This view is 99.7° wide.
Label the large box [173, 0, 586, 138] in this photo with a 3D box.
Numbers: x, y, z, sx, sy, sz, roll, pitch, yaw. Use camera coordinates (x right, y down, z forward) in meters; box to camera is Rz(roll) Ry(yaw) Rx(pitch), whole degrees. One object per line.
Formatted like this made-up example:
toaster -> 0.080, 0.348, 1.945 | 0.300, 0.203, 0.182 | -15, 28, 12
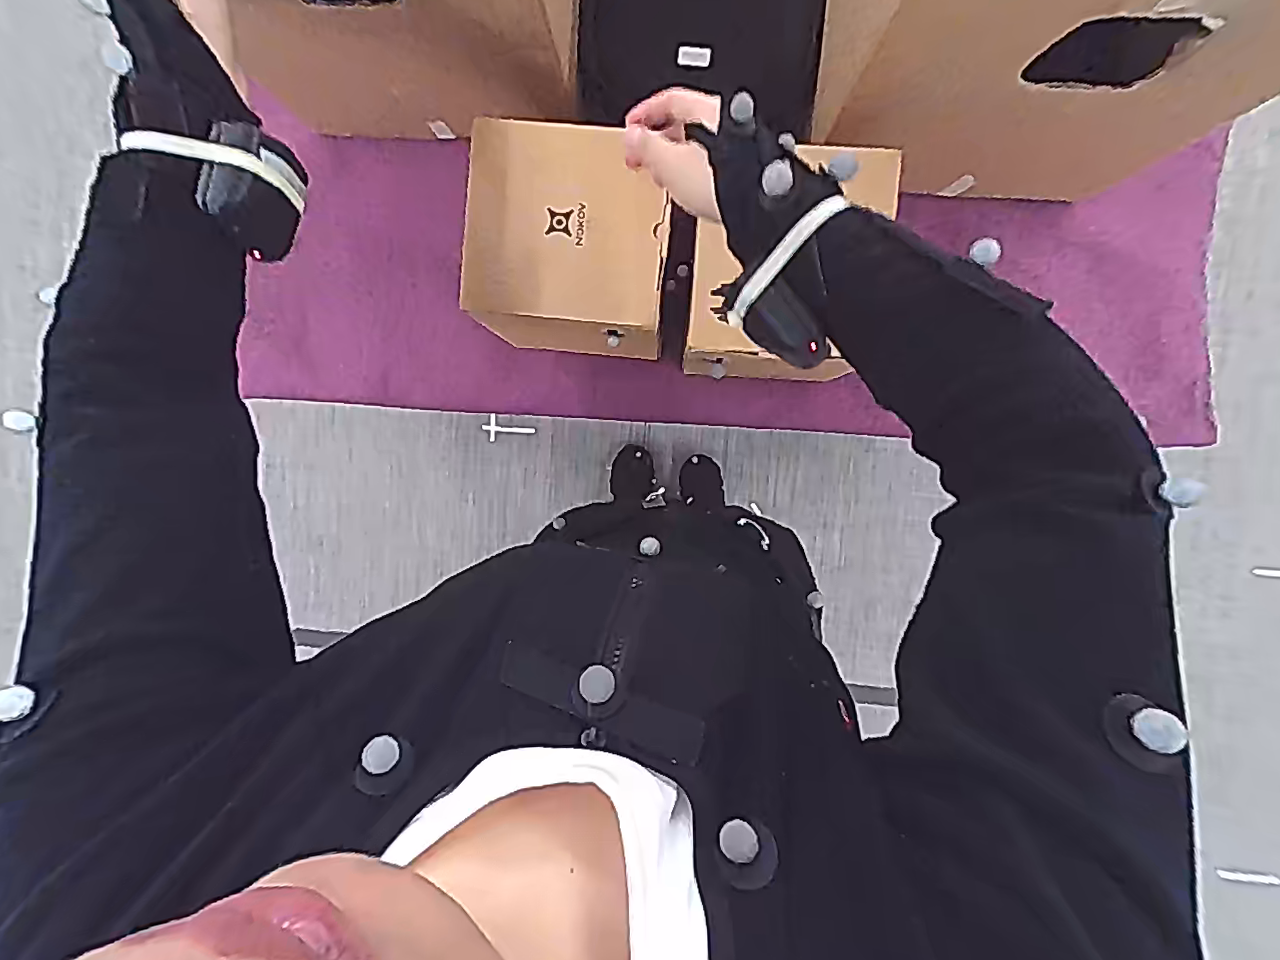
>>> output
large box -> -0.214, -0.574, 0.453 | 0.320, 0.320, 0.408 | 2, 97, 3
